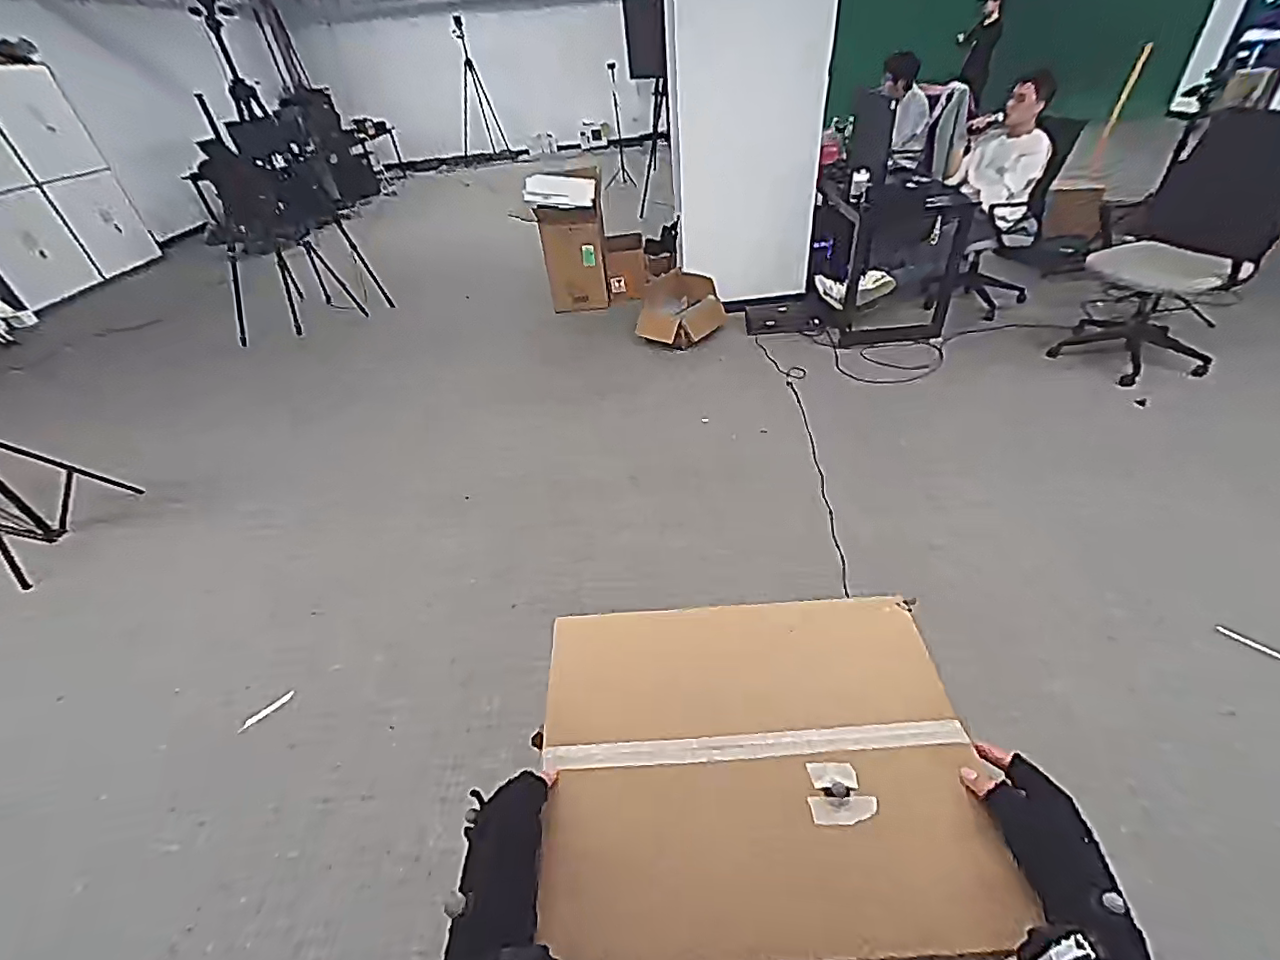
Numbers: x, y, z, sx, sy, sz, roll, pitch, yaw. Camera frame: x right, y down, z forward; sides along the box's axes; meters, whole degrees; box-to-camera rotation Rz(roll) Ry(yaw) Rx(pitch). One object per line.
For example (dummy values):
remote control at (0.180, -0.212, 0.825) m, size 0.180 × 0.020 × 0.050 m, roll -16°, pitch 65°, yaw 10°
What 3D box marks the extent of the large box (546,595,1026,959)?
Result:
large box at (0.116, 0.366, 0.645) m, size 0.408 × 0.320 × 0.320 m, roll -4°, pitch 45°, yaw 0°
